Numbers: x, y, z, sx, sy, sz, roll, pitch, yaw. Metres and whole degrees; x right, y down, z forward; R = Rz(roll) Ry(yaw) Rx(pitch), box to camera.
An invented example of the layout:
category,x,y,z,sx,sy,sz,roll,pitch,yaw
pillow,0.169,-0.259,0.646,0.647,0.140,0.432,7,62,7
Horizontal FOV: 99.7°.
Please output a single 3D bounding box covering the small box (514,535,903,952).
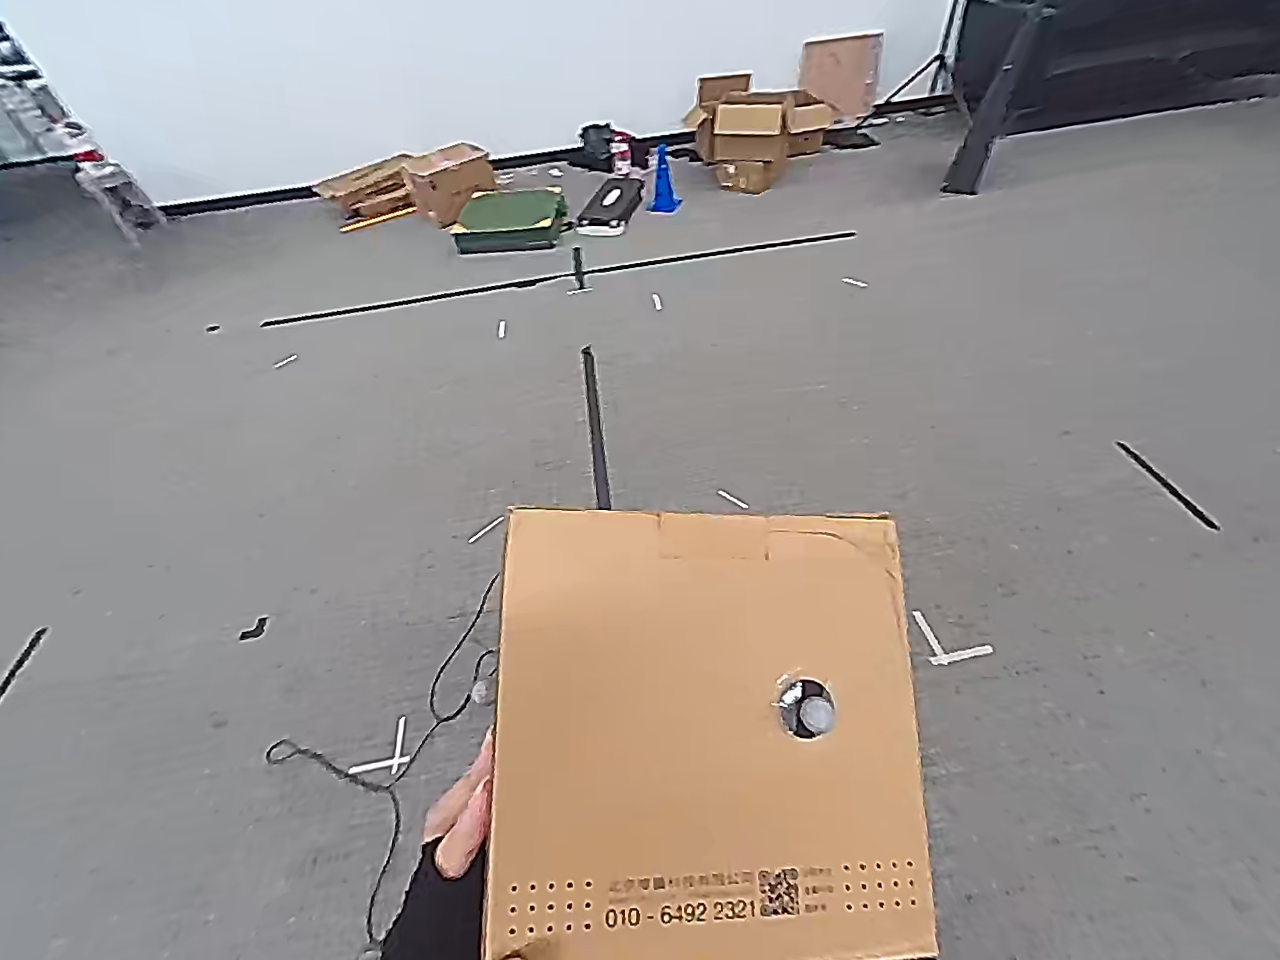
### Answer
category,x,y,z,sx,sy,sz,roll,pitch,yaw
small box,0.022,0.123,0.304,0.168,0.179,0.176,2,78,-7
